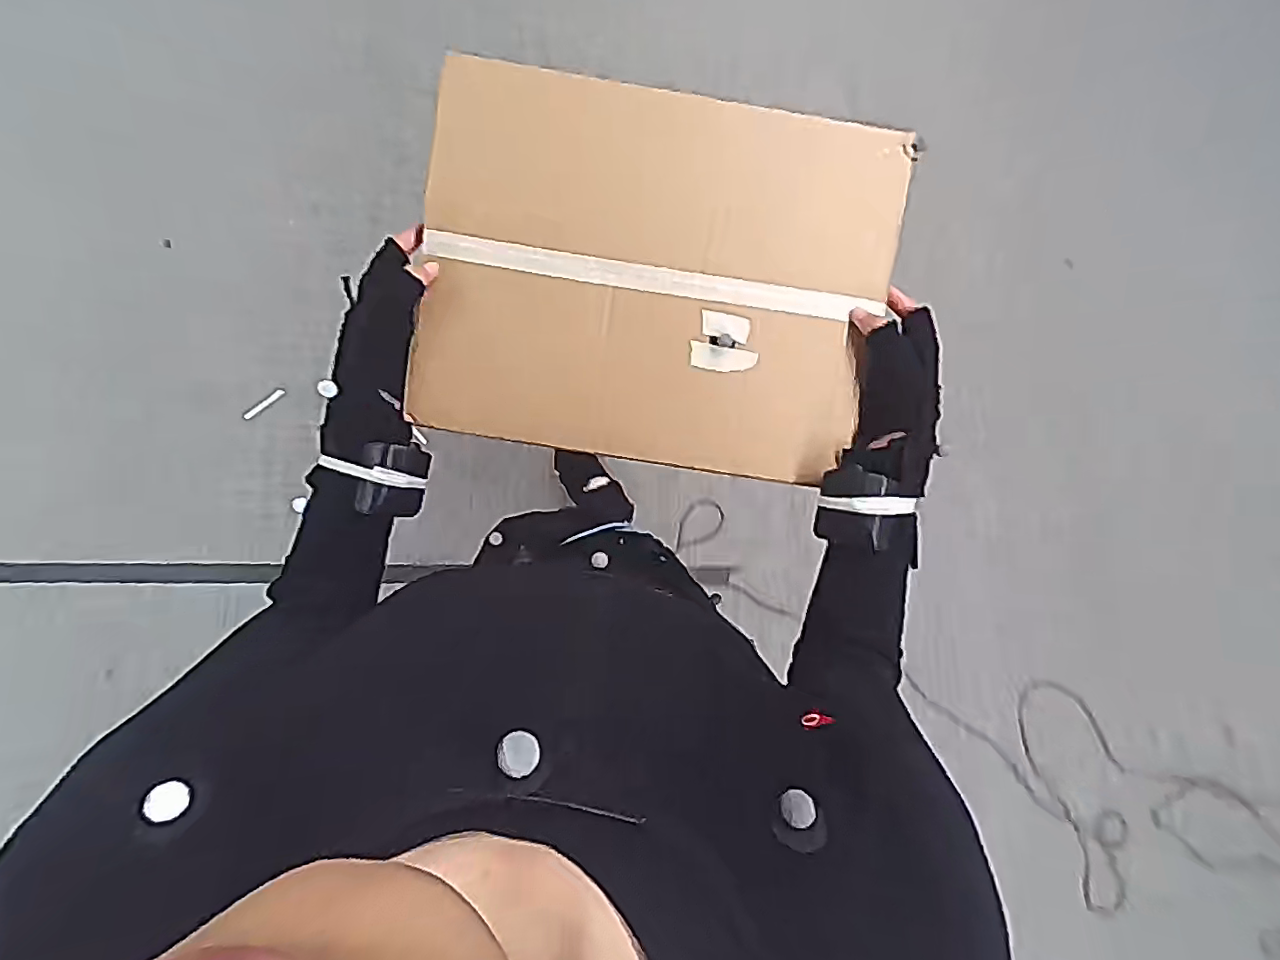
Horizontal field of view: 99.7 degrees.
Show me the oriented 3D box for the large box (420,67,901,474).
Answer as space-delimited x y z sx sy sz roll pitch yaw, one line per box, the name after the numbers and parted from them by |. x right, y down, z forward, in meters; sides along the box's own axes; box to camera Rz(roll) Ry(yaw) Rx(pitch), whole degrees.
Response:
0.011 -0.193 0.633 0.408 0.320 0.320 9 95 -2 | large box
